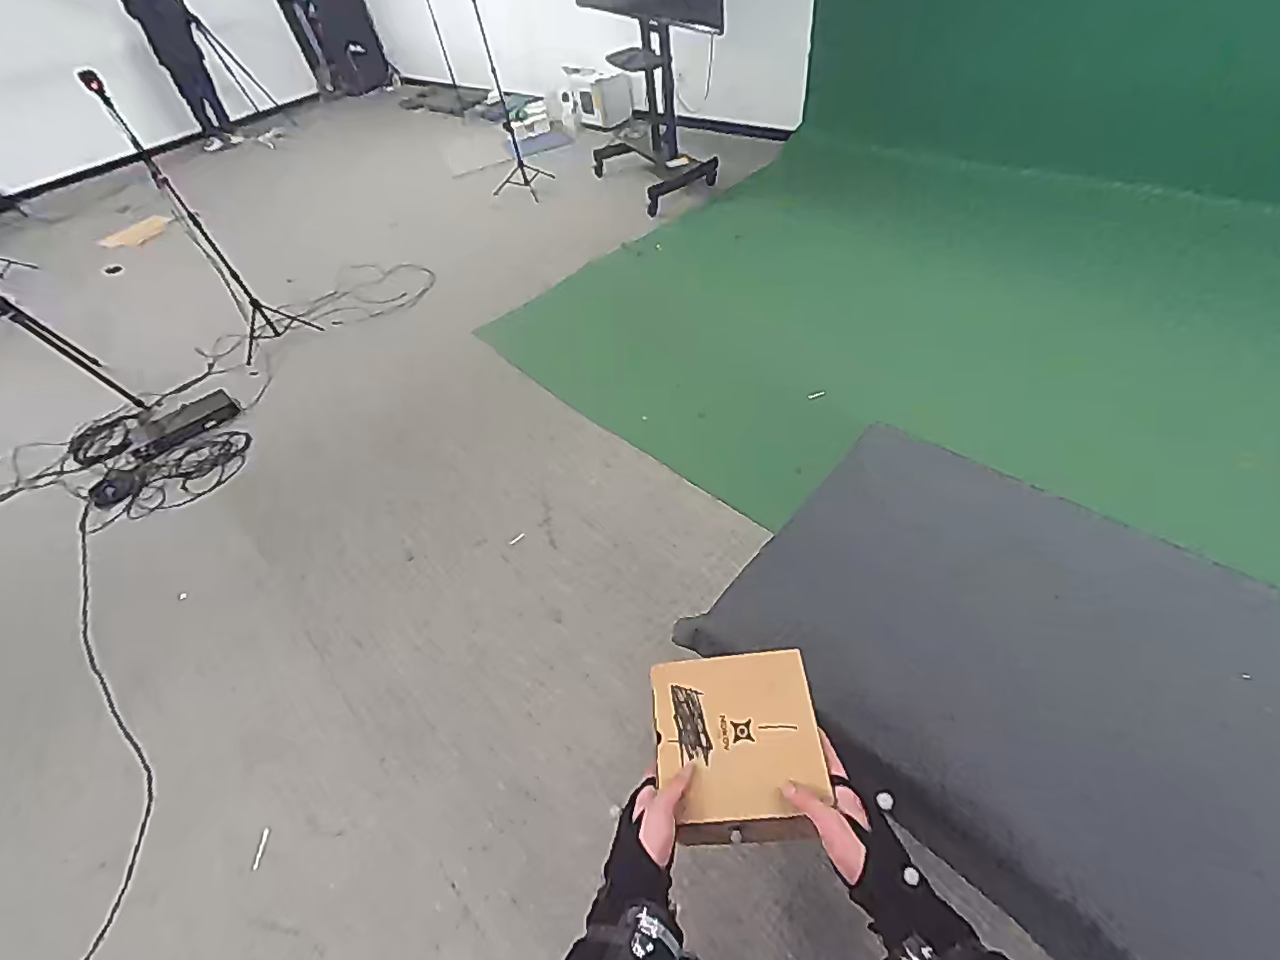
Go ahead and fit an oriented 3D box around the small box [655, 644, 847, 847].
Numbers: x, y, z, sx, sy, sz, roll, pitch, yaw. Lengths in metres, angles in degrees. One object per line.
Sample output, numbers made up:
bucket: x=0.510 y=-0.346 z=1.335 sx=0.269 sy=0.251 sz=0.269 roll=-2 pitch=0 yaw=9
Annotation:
small box: x=0.117 y=0.308 z=0.619 sx=0.179 sy=0.176 sz=0.168 roll=-7 pitch=49 yaw=4
